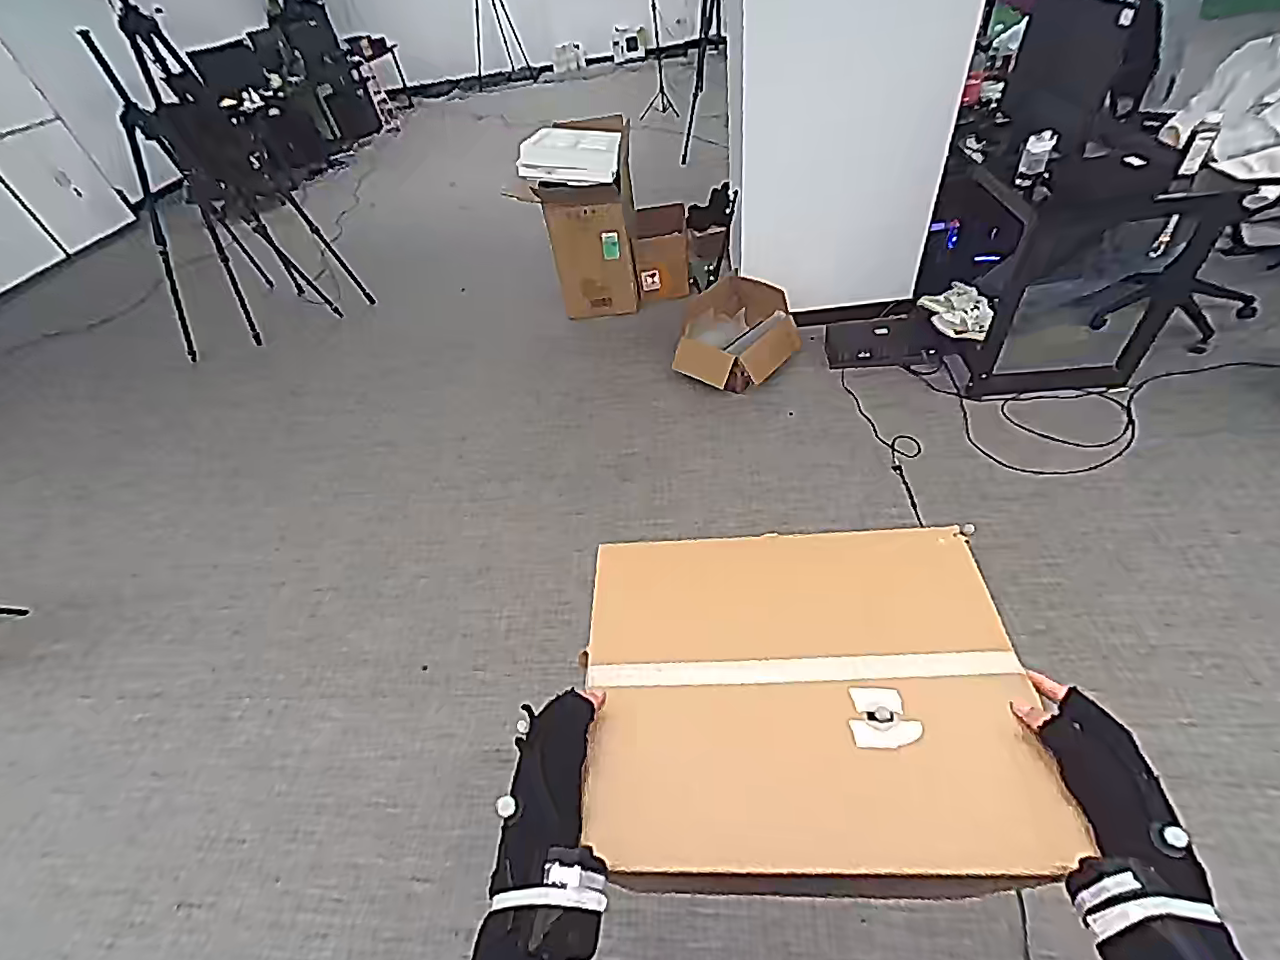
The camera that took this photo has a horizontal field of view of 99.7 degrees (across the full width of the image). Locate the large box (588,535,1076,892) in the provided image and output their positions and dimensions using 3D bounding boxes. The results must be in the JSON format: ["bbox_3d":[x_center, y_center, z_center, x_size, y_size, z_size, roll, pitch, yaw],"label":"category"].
[{"bbox_3d":[0.165,0.290,0.650,0.408,0.320,0.320,-4,50,5],"label":"large box"}]
